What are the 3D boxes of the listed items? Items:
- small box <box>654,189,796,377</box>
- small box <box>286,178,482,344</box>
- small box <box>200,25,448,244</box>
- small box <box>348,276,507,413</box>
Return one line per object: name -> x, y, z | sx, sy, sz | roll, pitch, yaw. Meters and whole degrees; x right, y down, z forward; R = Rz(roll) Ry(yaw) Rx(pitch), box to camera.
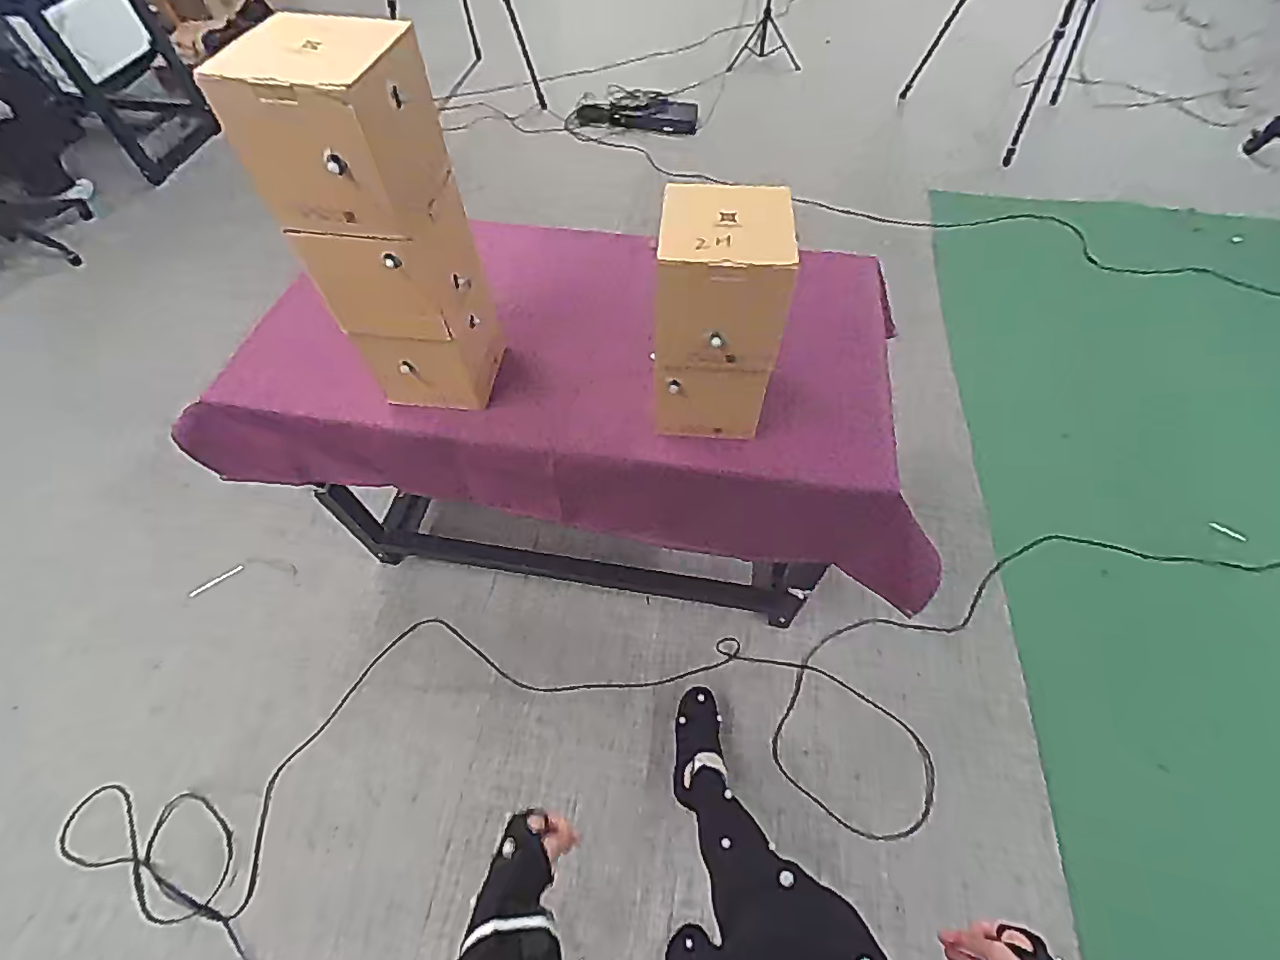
small box -> 0.108, -0.266, 0.736 | 0.168, 0.176, 0.179 | 4, 56, 5
small box -> -0.352, -0.317, 0.785 | 0.179, 0.176, 0.168 | 6, 56, 4
small box -> -0.353, -0.410, 0.651 | 0.168, 0.176, 0.179 | 8, 56, 5
small box -> -0.347, -0.232, 0.923 | 0.179, 0.176, 0.168 | 5, 57, 5
